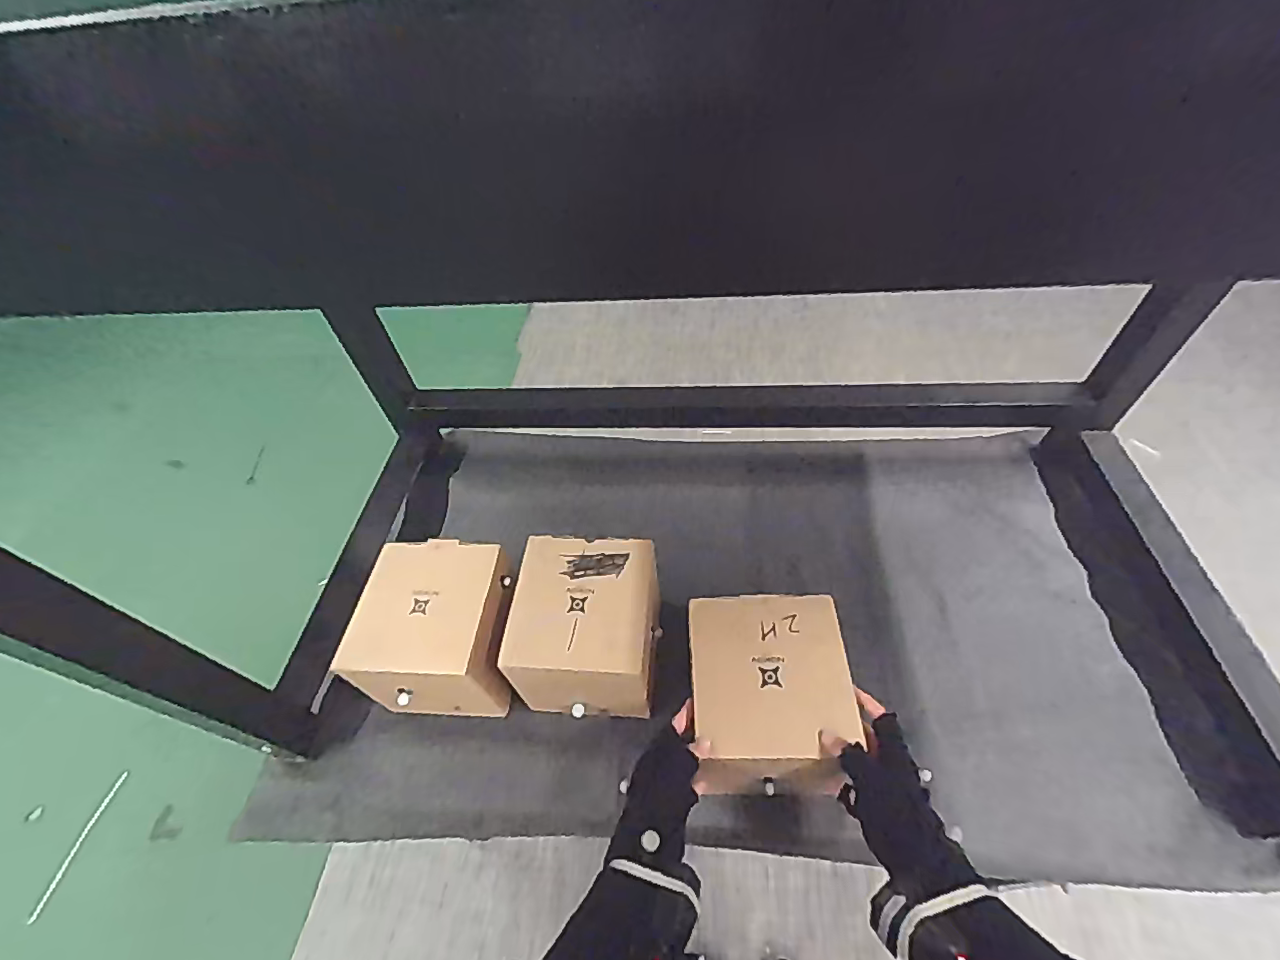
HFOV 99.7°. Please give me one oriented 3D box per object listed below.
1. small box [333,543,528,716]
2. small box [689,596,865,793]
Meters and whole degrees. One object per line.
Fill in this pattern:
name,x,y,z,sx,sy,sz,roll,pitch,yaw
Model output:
small box,-0.260,0.203,0.724,0.168,0.176,0.179,0,50,6
small box,0.143,0.253,0.631,0.168,0.176,0.179,-2,49,4
